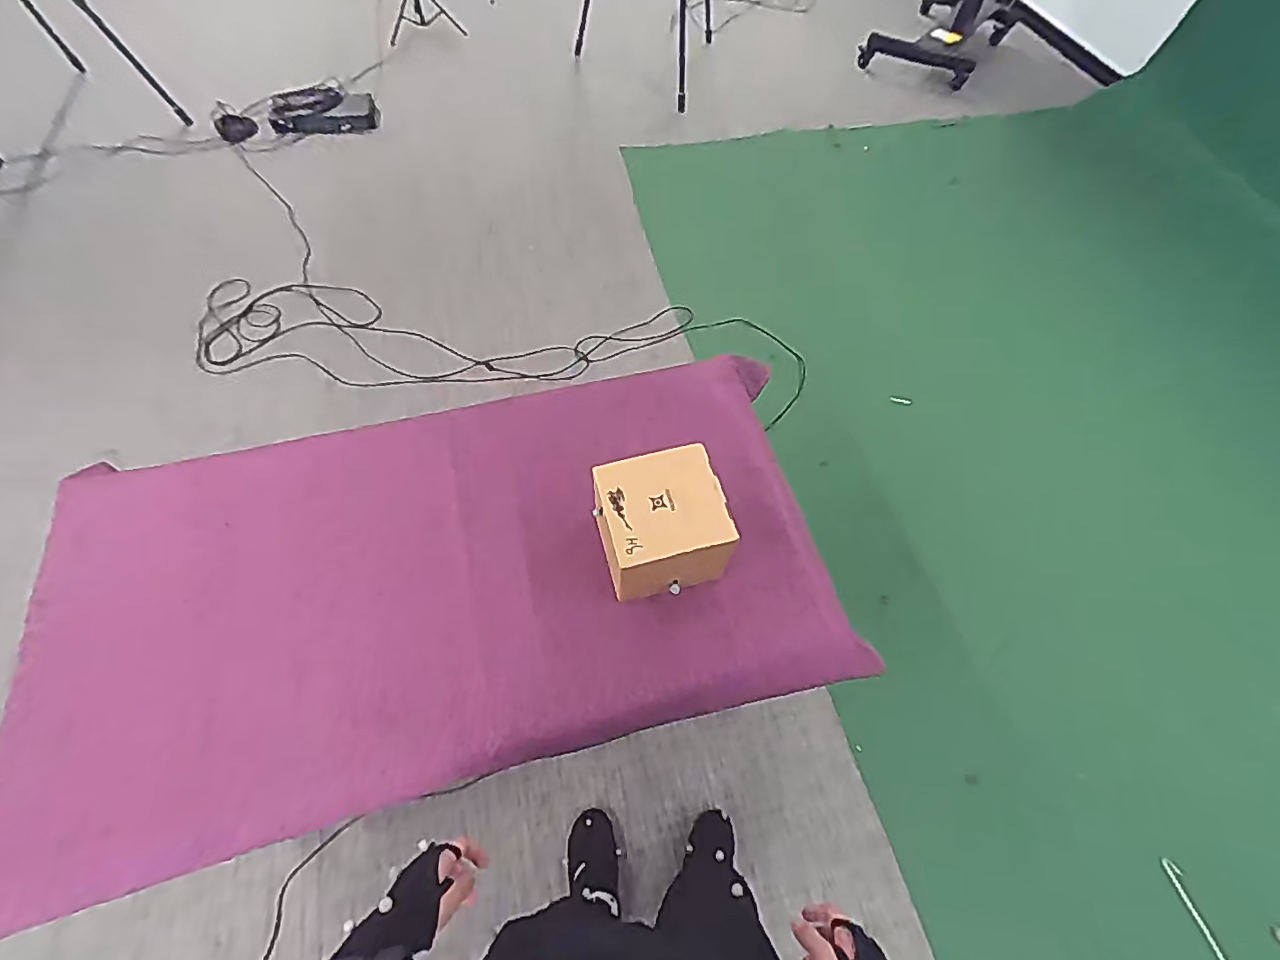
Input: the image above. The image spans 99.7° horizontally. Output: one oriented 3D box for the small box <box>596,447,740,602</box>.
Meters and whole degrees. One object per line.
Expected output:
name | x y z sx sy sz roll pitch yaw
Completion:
small box | 0.032 0.073 0.837 0.179 0.176 0.168 -12 62 -9
